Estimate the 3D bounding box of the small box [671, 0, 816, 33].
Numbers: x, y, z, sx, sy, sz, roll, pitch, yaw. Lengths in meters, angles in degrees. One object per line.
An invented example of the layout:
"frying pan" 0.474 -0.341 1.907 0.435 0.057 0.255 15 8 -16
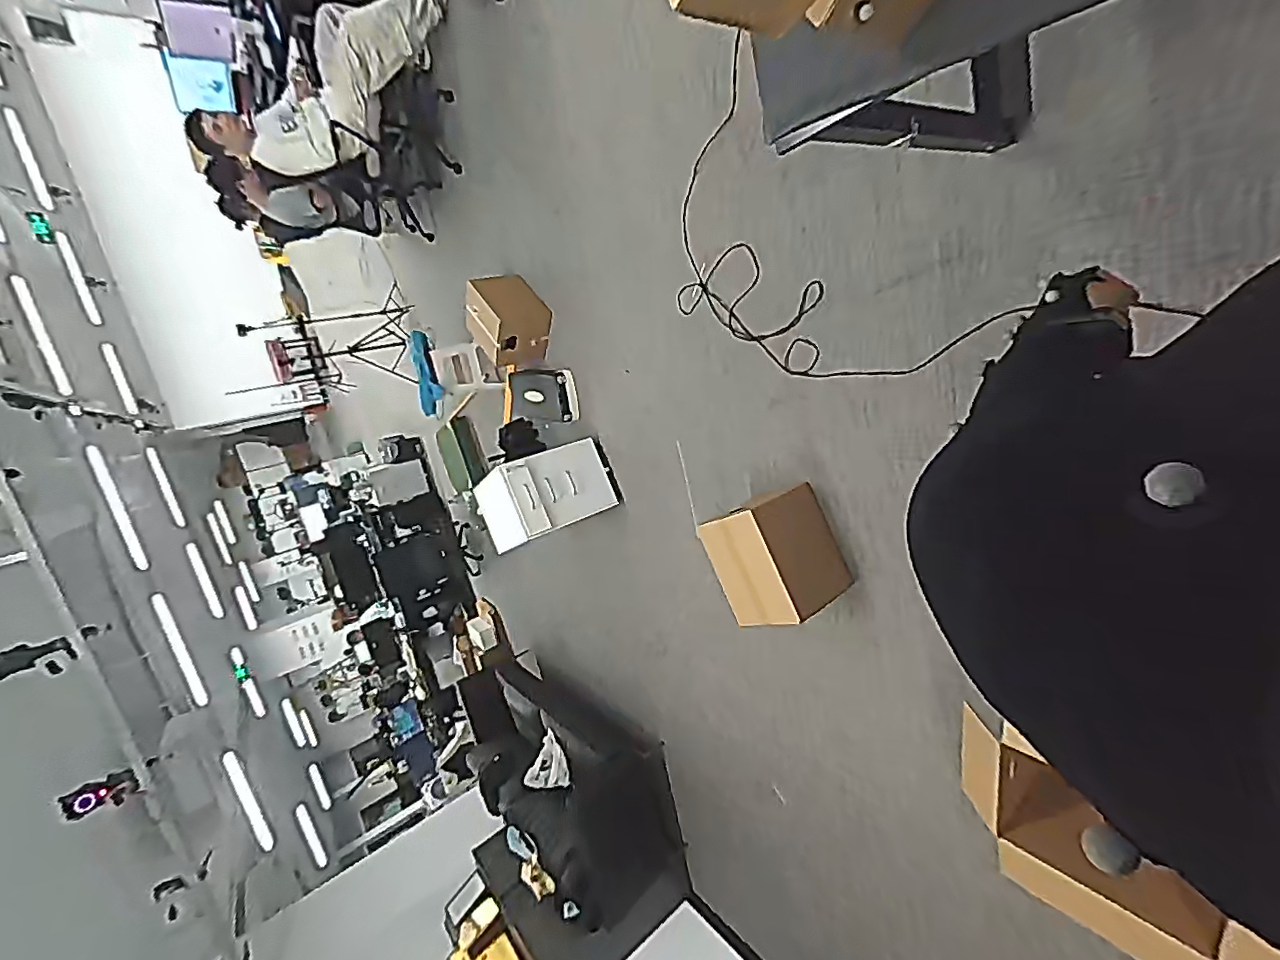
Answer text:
"small box" 0.120 -0.580 0.516 0.179 0.176 0.168 -19 90 58
